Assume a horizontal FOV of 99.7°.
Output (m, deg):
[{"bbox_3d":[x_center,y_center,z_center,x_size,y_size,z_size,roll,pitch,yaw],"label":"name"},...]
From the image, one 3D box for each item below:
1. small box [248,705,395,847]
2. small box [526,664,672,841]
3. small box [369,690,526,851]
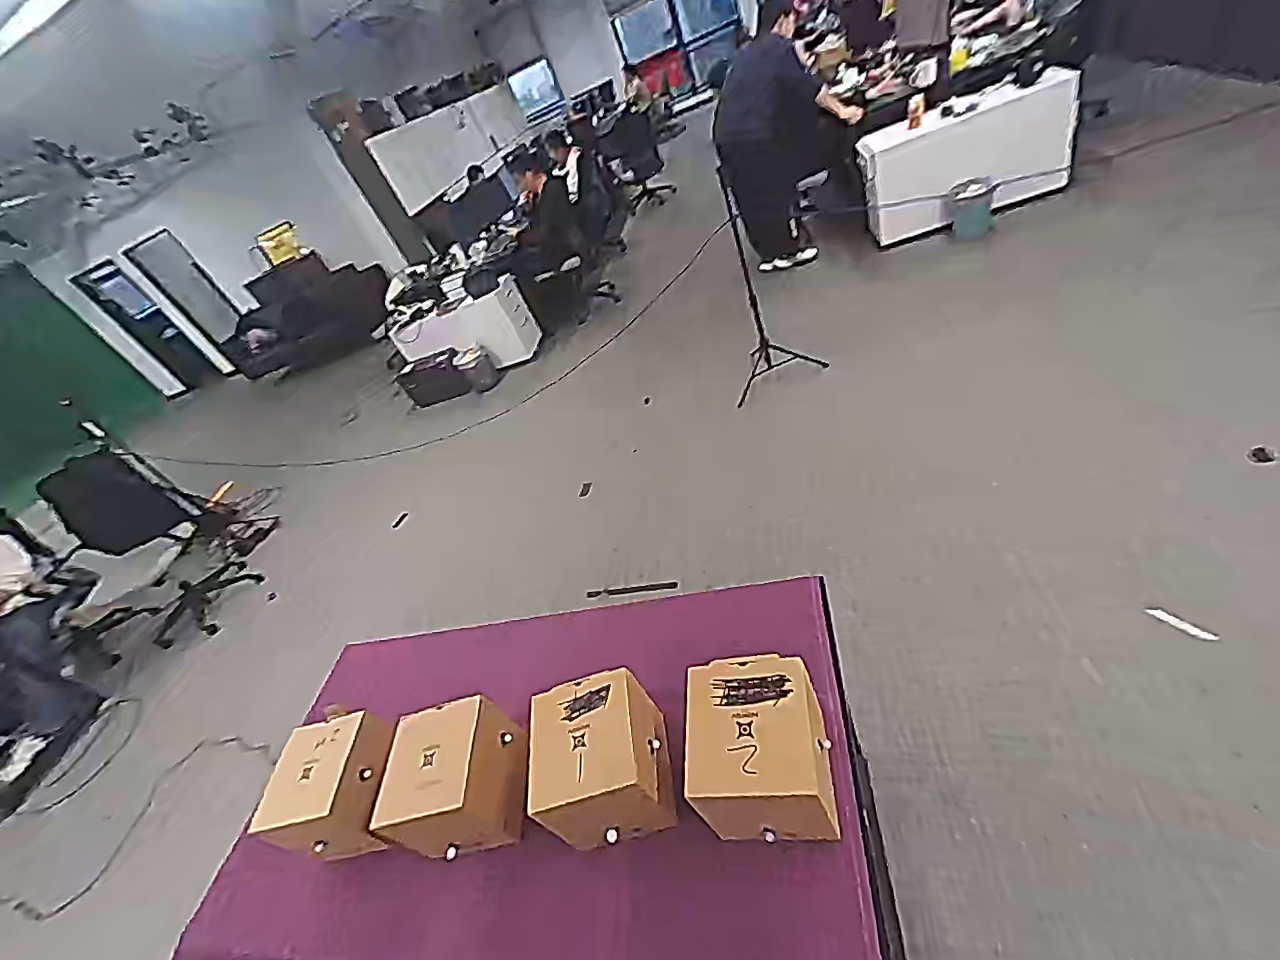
[{"bbox_3d":[-0.545,0.544,0.985,0.168,0.176,0.179,-17,38,12],"label":"small box"},{"bbox_3d":[-0.060,0.424,0.841,0.168,0.176,0.179,-20,38,9],"label":"small box"},{"bbox_3d":[-0.309,0.490,0.912,0.168,0.176,0.179,-18,38,12],"label":"small box"}]
